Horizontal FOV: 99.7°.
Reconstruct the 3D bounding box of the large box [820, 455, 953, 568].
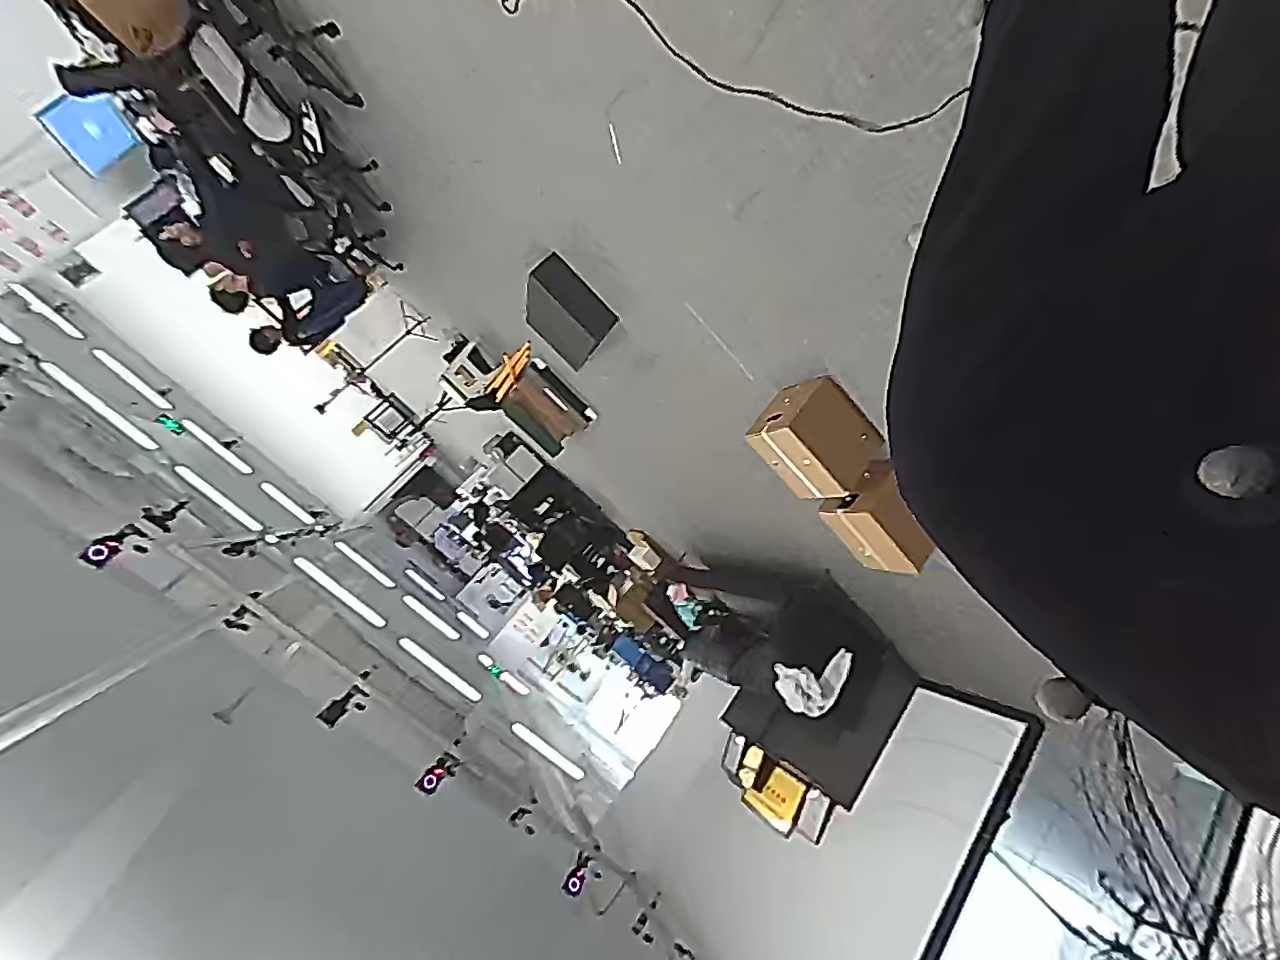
[{"bbox_3d":[1.109,0.141,2.438,0.408,0.320,0.320,44,163,-16],"label":"large box"}]
